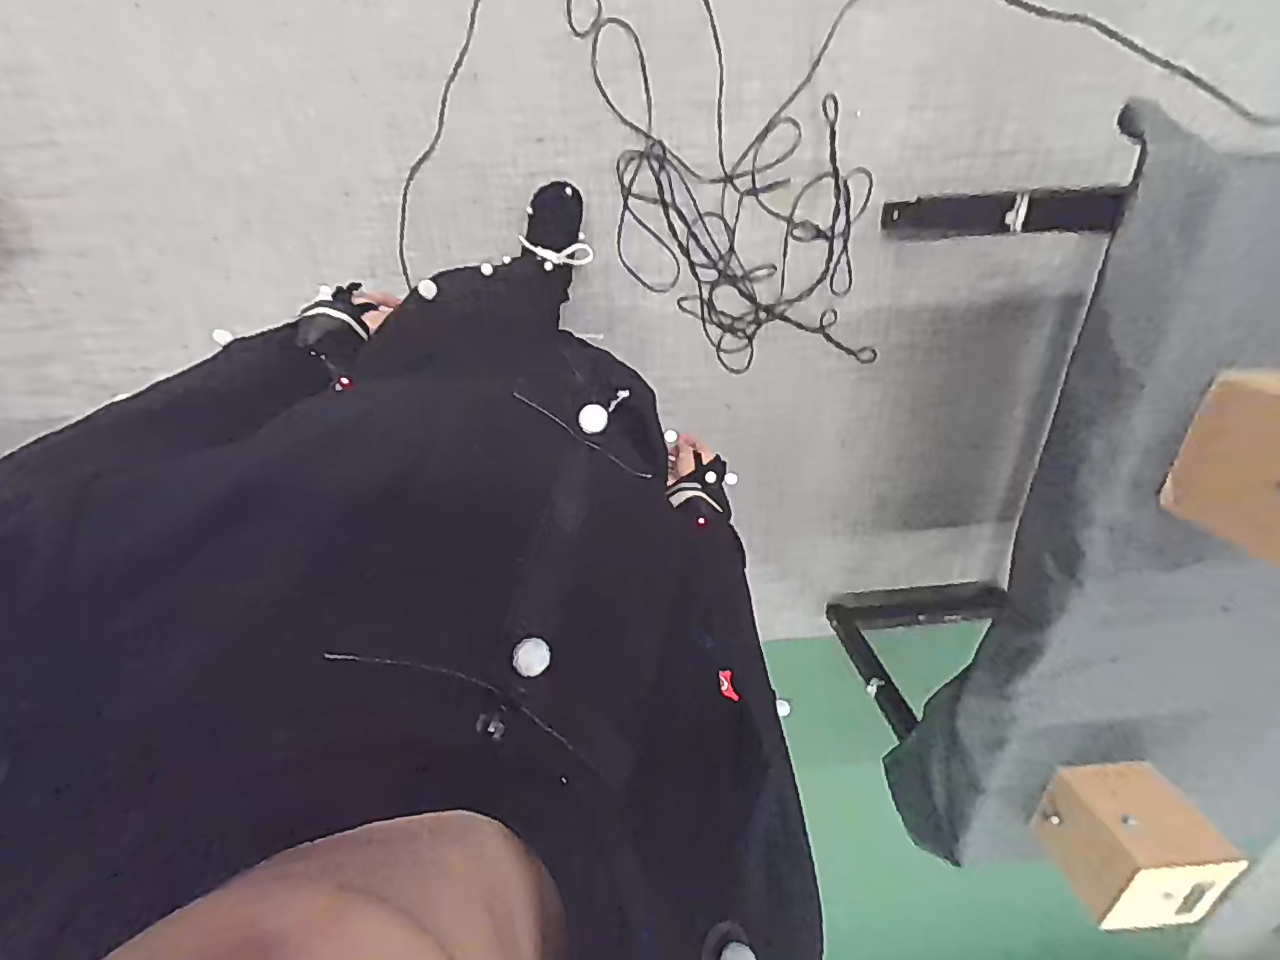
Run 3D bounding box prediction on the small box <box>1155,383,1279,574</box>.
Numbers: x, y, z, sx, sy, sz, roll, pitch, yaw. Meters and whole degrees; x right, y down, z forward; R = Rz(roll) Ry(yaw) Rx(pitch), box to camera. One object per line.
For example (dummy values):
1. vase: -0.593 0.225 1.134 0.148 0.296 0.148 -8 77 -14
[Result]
1. small box: 0.748 -0.007 0.603 0.168 0.176 0.179 -2 117 -4
